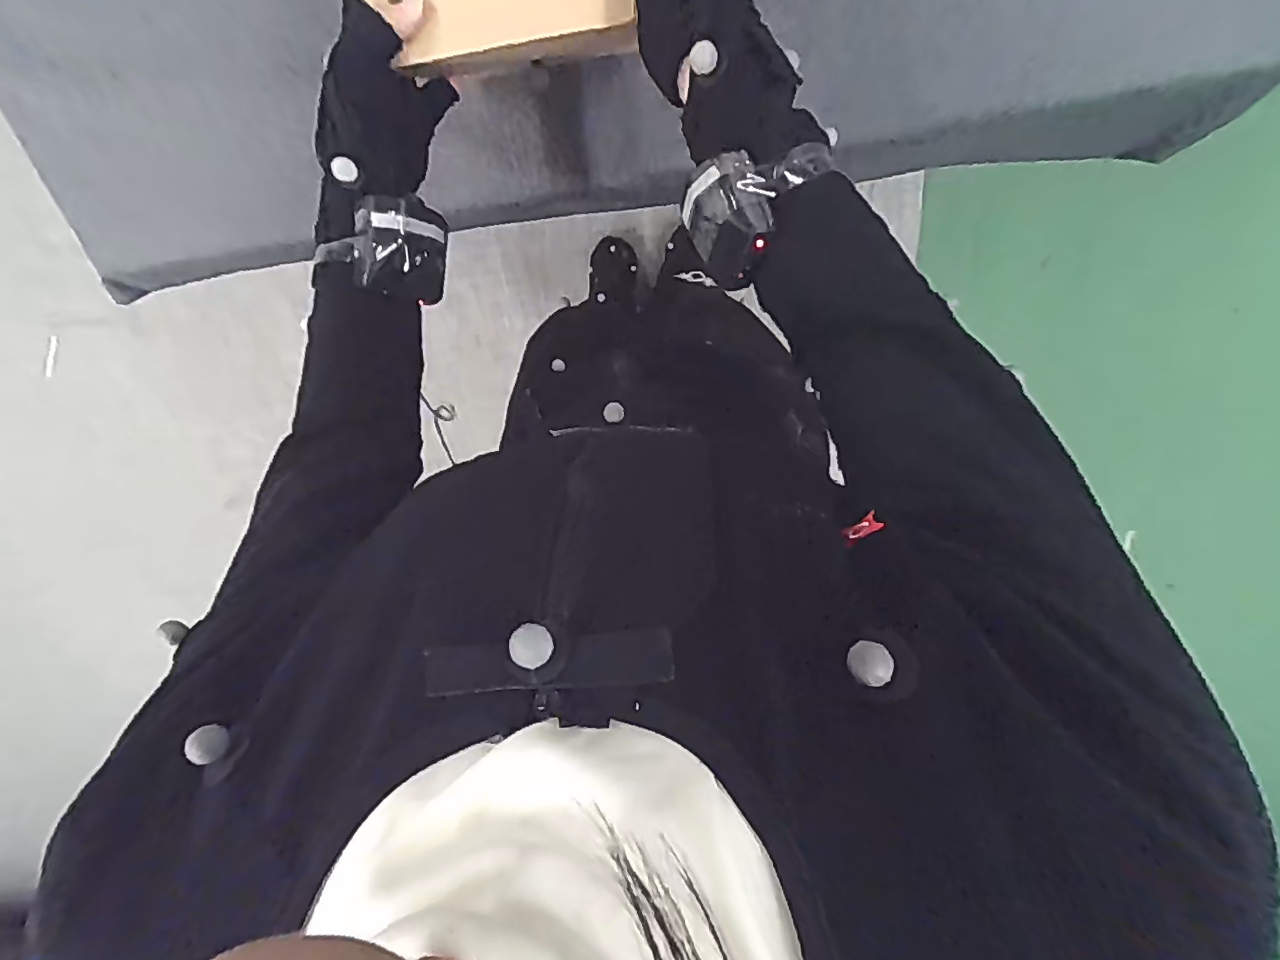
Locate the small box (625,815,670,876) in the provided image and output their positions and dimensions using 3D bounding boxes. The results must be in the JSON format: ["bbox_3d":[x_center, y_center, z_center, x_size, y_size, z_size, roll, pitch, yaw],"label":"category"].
[{"bbox_3d":[0.036,1.561,2.311,0.179,0.176,0.168,-3,118,7],"label":"small box"}]

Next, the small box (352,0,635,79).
[{"bbox_3d":[-0.101,-0.391,0.371,0.179,0.176,0.168,-7,124,4],"label":"small box"}]

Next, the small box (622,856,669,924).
[{"bbox_3d":[0.027,1.646,2.173,0.168,0.176,0.179,-6,117,6],"label":"small box"}]
